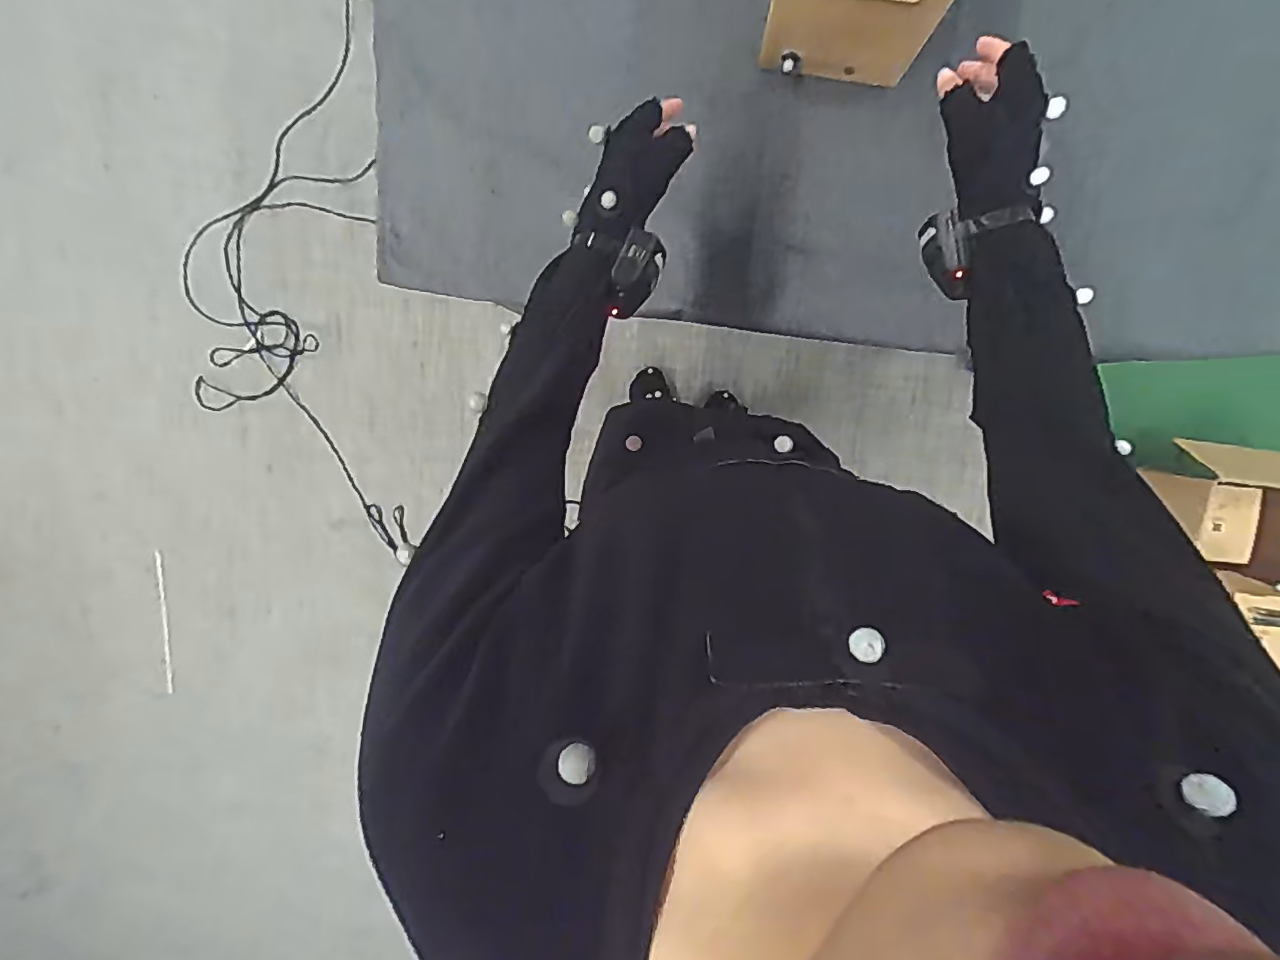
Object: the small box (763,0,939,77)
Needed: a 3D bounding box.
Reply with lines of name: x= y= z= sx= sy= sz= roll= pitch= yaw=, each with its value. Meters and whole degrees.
small box: x=0.229 y=-0.559 z=0.555 sx=0.168 sy=0.176 sz=0.179 roll=10 pitch=99 yaw=3
